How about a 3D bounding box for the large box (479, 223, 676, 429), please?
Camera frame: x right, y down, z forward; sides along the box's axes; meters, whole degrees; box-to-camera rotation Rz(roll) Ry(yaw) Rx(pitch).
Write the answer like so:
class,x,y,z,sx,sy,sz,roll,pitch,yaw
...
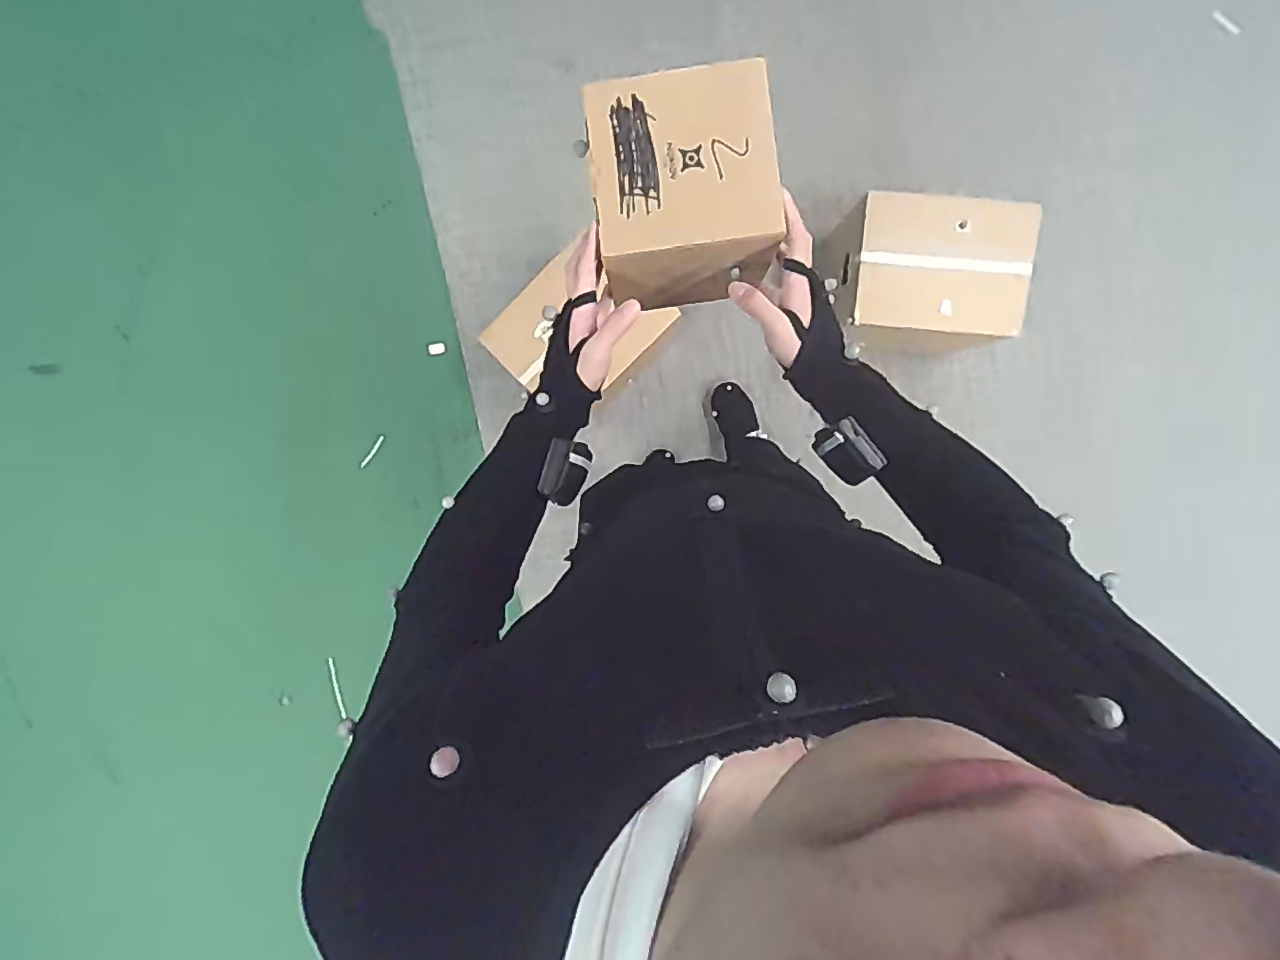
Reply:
class,x,y,z,sx,sy,sz,roll,pitch,yaw
large box,-0.149,-0.387,1.460,0.408,0.320,0.320,-45,92,5
